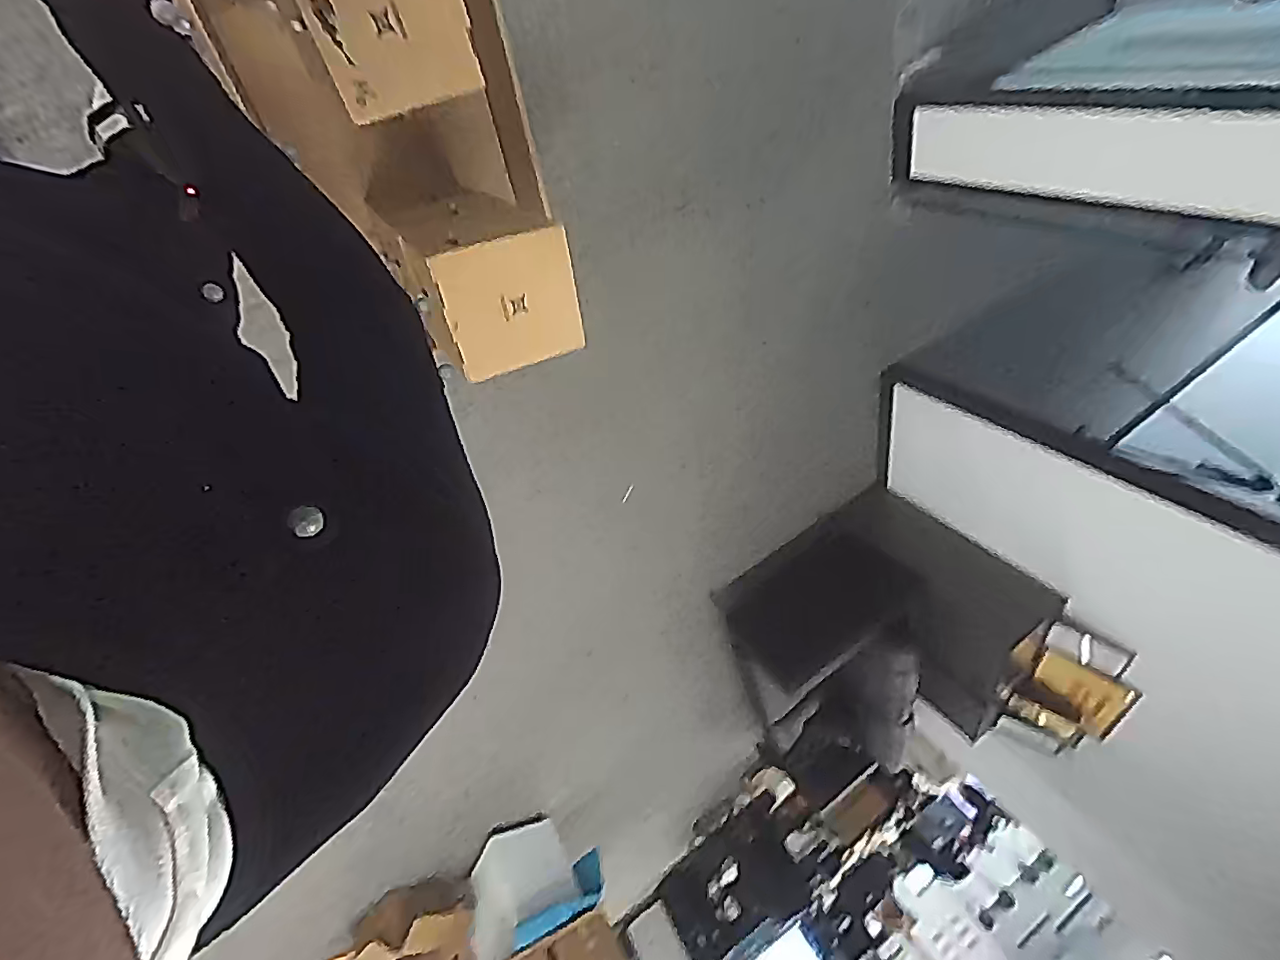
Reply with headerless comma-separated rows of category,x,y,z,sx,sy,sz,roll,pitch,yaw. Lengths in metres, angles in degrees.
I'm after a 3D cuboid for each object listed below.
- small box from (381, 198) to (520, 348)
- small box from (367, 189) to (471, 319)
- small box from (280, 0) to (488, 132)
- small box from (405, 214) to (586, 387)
small box,-0.285,-0.338,0.864,0.179,0.176,0.168,-25,132,-21
small box,-0.367,-0.416,0.982,0.179,0.176,0.168,-24,131,-21
small box,-0.323,-0.558,0.677,0.179,0.176,0.168,-30,133,-16
small box,-0.199,-0.258,0.753,0.179,0.176,0.168,-24,131,-20
